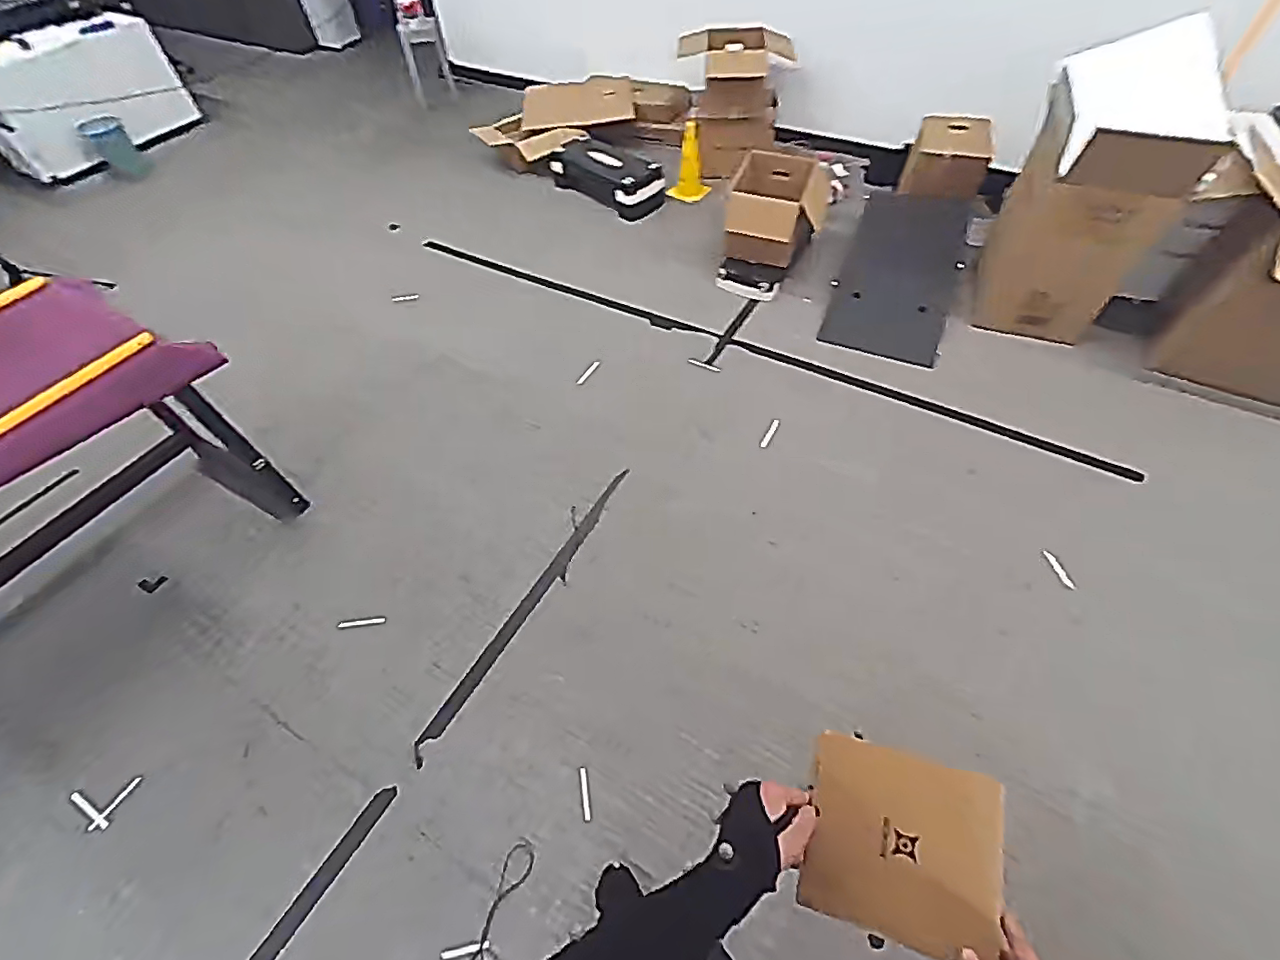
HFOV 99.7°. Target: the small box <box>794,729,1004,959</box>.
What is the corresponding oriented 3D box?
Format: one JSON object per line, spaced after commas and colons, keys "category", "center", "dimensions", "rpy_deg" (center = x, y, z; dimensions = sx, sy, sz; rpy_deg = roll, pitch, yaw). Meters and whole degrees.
{"category": "small box", "center": [0.276, 0.386, 0.601], "dimensions": [0.179, 0.176, 0.168], "rpy_deg": [8, 68, 22]}
